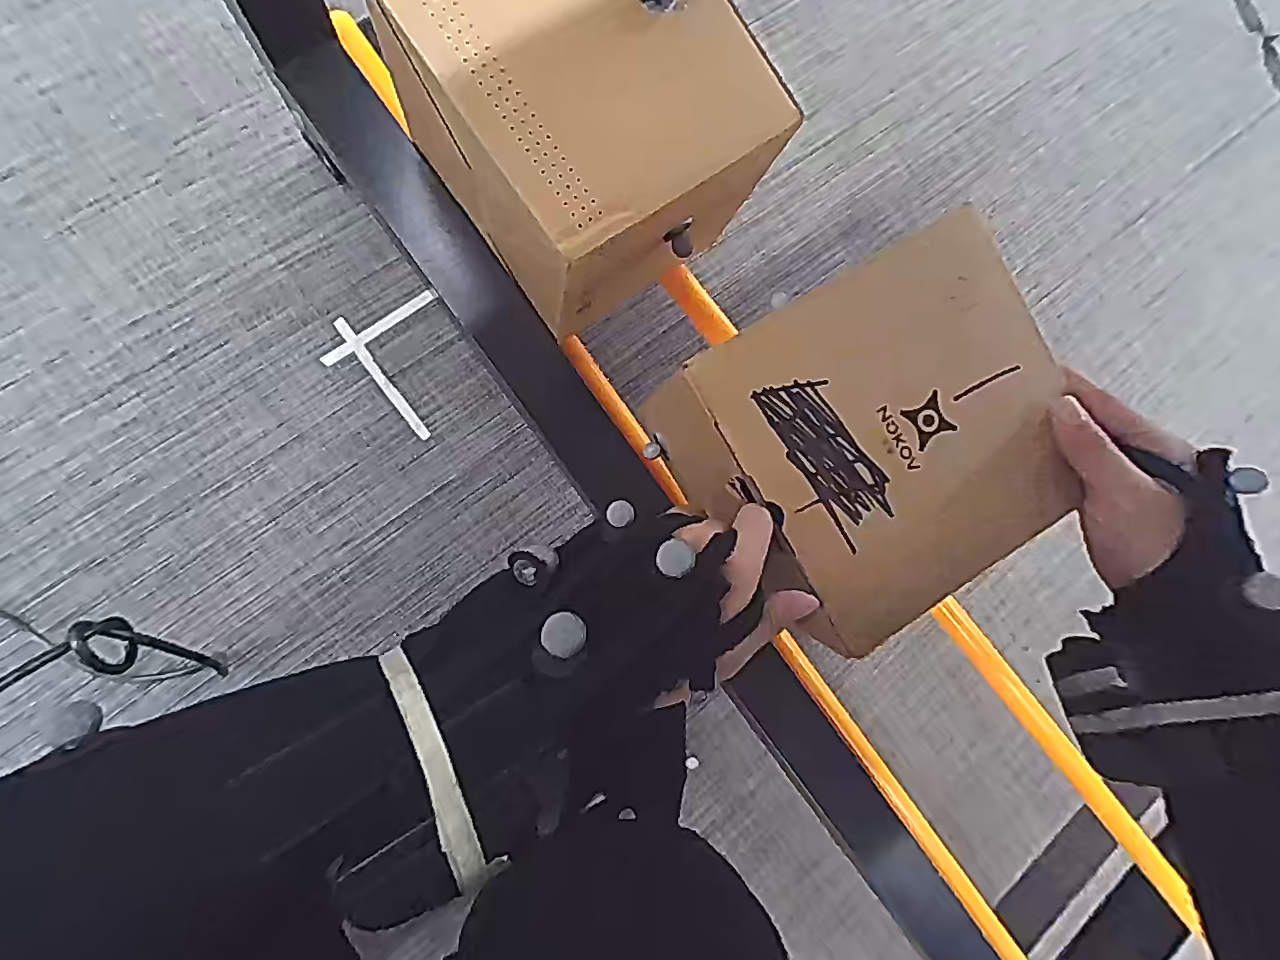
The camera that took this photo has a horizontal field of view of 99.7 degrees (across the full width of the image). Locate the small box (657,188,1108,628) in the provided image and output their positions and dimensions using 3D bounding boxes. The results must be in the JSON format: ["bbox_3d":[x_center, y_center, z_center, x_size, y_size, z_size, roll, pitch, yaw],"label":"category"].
[{"bbox_3d":[0.124,-0.037,0.349,0.179,0.176,0.168,-31,95,-8],"label":"small box"}]
